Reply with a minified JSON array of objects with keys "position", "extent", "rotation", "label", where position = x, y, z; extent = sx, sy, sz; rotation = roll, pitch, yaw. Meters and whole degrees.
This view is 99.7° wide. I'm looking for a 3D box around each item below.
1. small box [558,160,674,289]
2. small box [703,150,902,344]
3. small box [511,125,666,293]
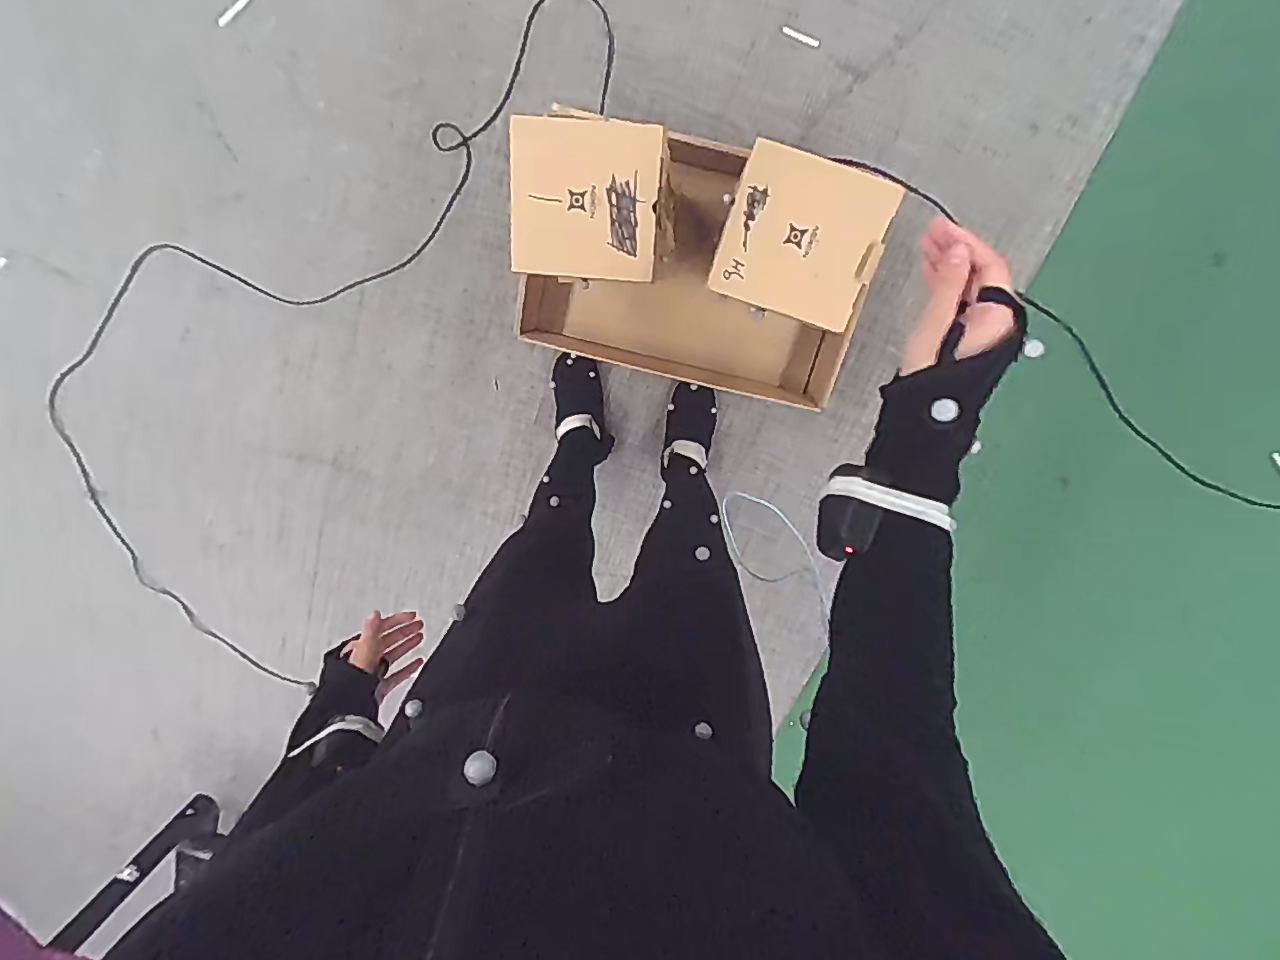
[{"position":[-0.035,-0.394,0.855],"extent":[0.179,0.176,0.168],"rotation":[-1,110,5],"label":"small box"},{"position":[0.189,-0.288,0.692],"extent":[0.179,0.176,0.168],"rotation":[19,109,-1],"label":"small box"},{"position":[-0.060,-0.339,0.701],"extent":[0.179,0.176,0.168],"rotation":[6,110,2],"label":"small box"}]
